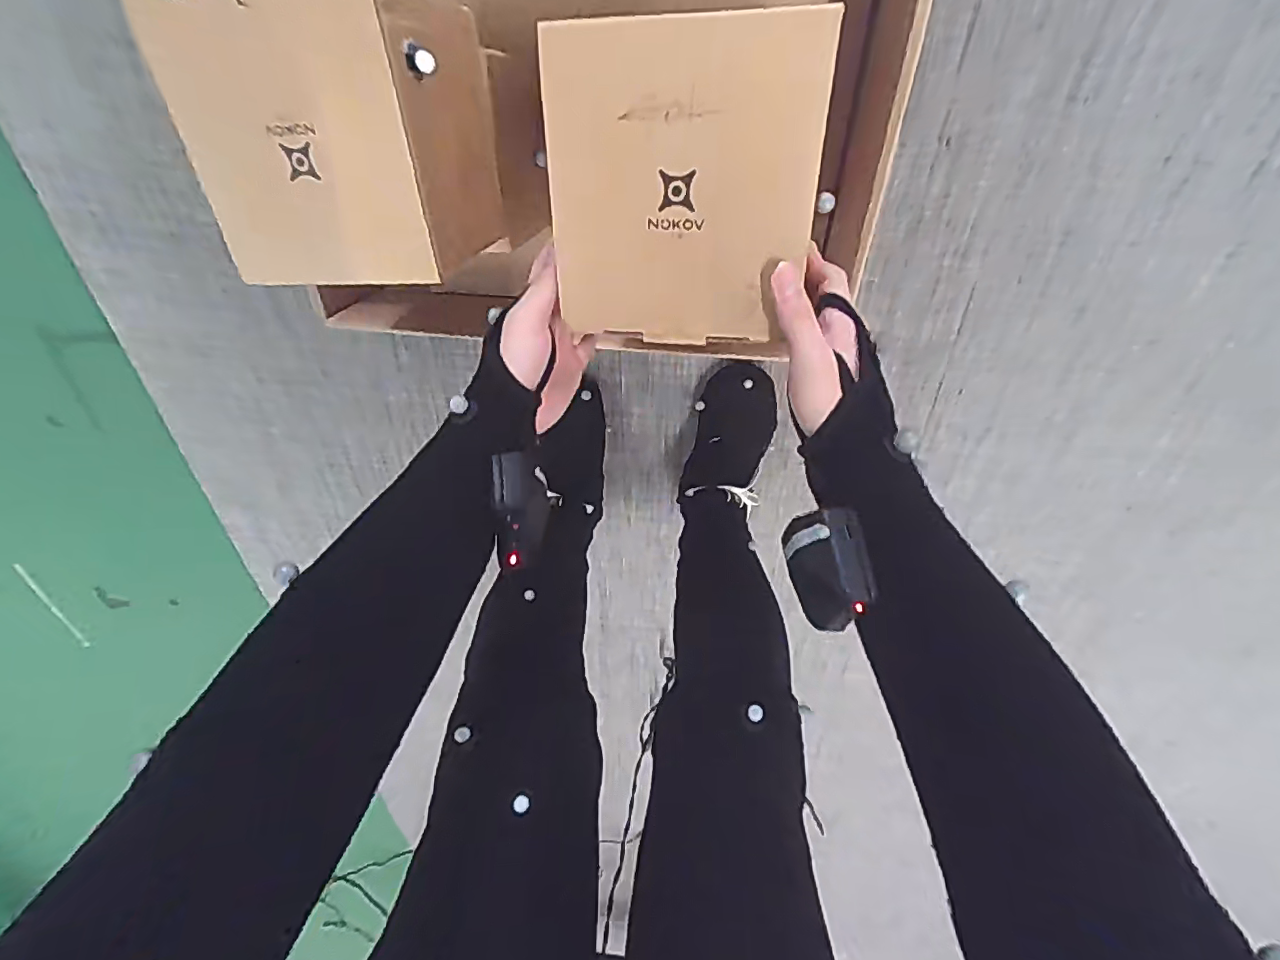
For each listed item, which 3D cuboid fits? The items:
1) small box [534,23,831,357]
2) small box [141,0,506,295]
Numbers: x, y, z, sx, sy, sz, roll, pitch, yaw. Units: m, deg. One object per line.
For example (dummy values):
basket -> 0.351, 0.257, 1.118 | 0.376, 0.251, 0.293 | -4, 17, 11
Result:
small box -> 0.038, -0.205, 0.398 | 0.168, 0.176, 0.179 | 6, 121, 11
small box -> -0.224, -0.263, 0.445 | 0.168, 0.176, 0.179 | 2, 123, 7
